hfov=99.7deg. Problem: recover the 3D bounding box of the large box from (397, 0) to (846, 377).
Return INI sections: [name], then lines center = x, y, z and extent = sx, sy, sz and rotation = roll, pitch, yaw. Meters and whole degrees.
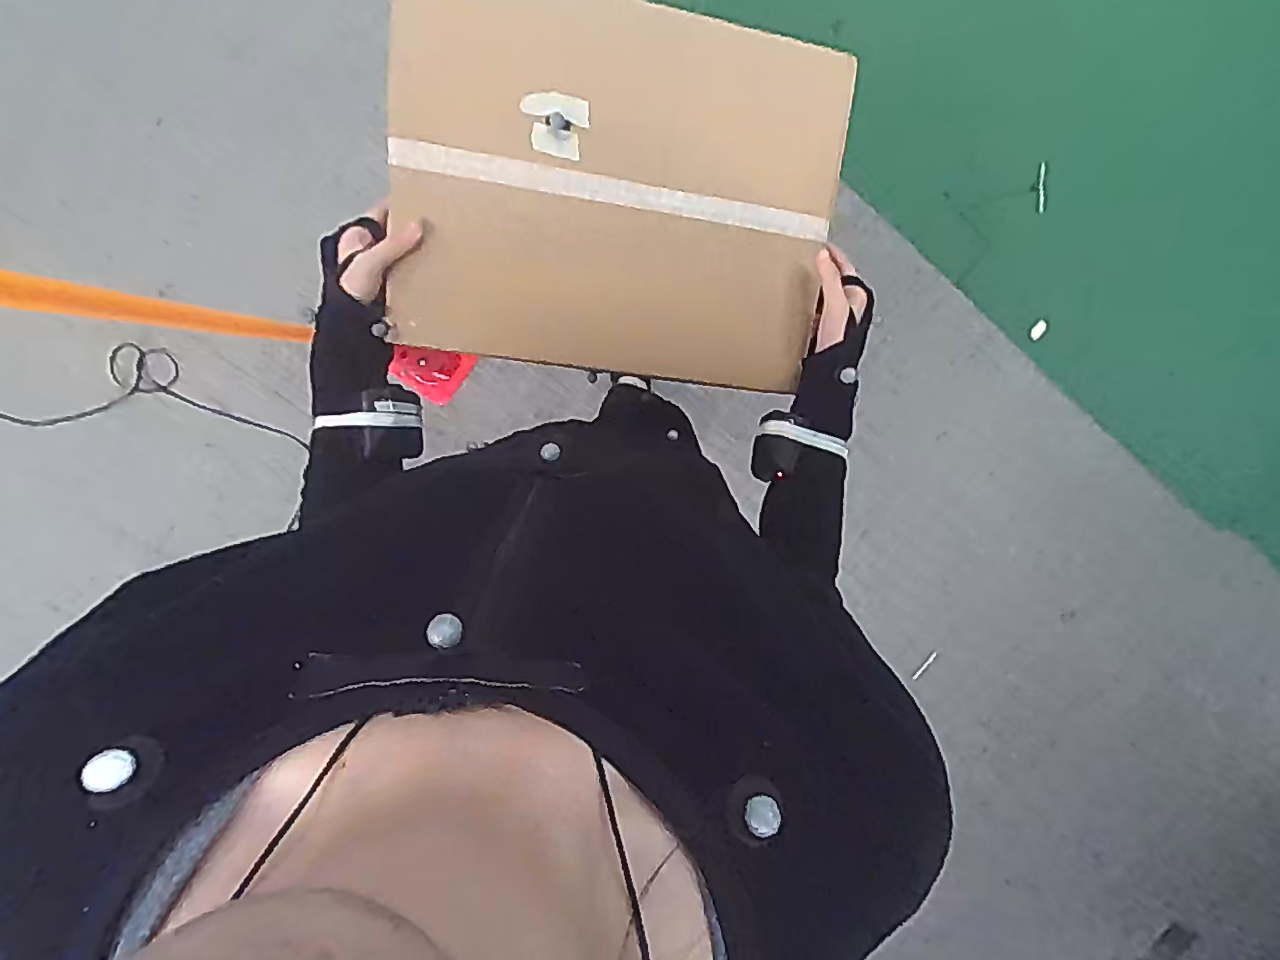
[large box]
center = -0.036, -0.304, 0.647
extent = 0.408, 0.320, 0.320
rotation = 5, 101, -10
